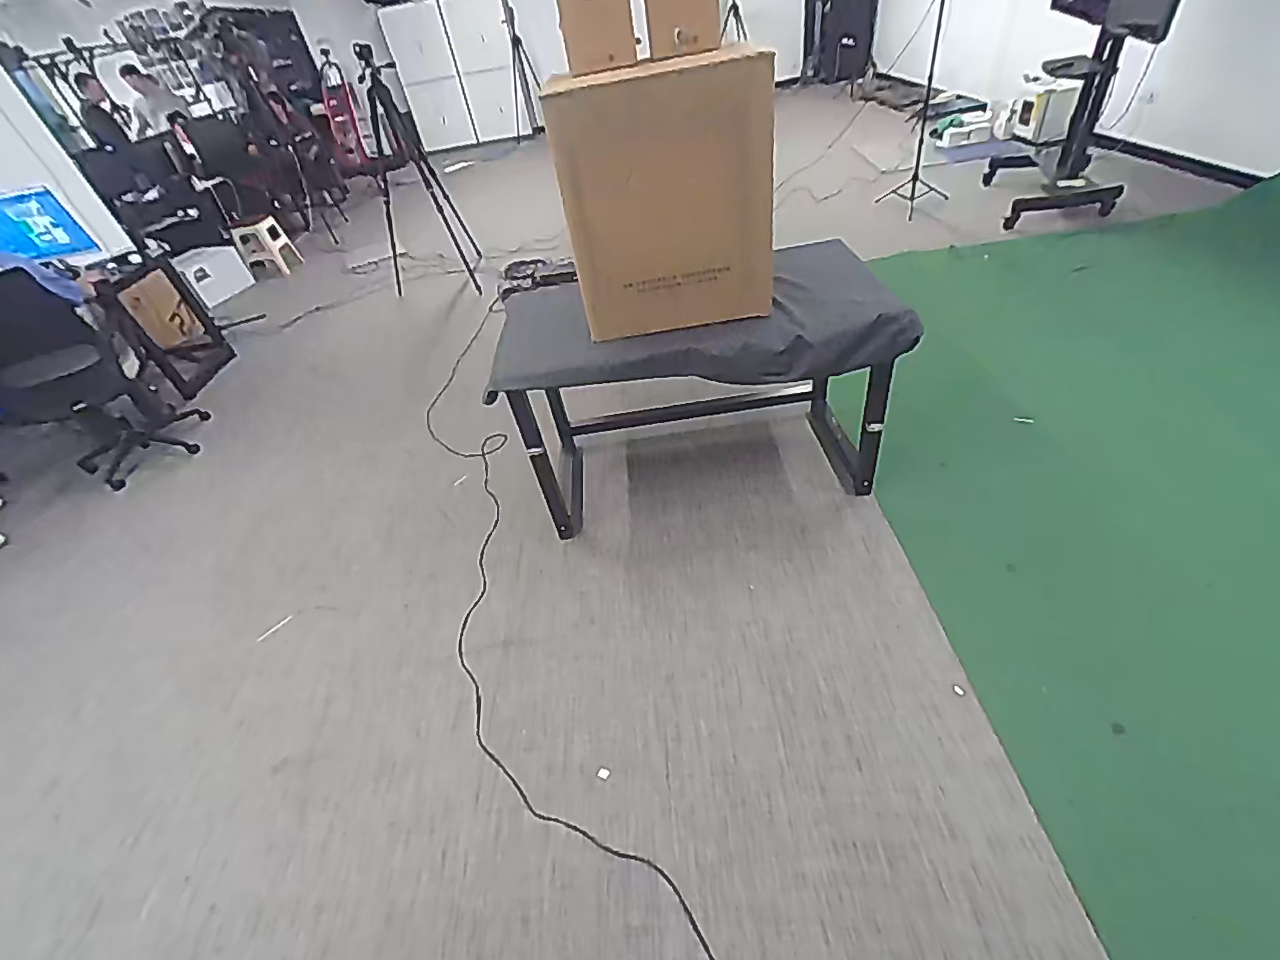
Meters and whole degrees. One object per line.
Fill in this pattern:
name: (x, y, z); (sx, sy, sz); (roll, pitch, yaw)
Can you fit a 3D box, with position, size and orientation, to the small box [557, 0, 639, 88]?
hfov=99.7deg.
small box: (-0.096, -1.078, 1.324); (0.168, 0.176, 0.179); (-9, 39, 5)
